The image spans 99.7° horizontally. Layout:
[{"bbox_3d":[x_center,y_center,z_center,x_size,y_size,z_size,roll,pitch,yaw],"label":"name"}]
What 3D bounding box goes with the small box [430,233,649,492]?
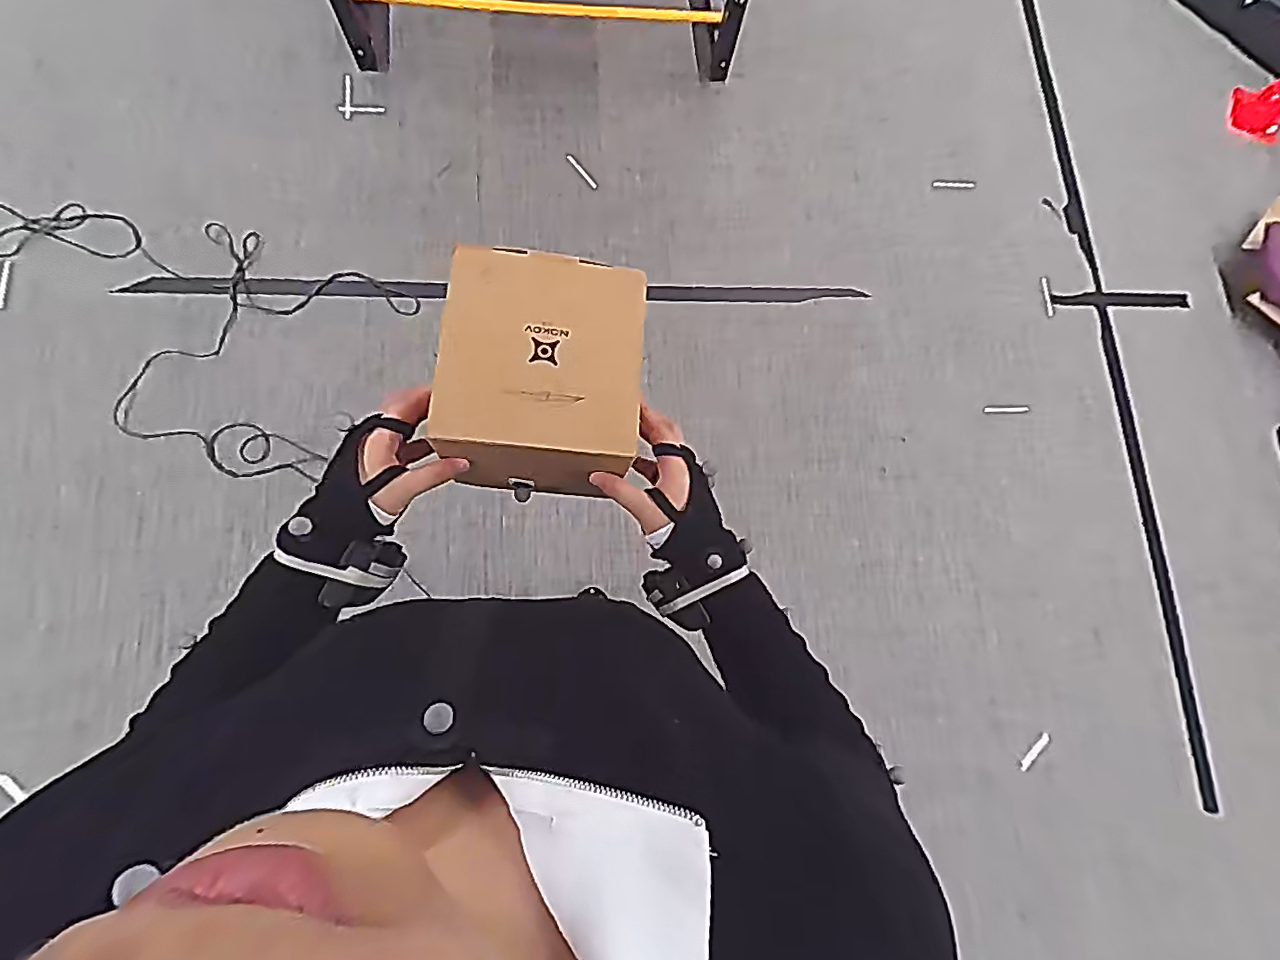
[{"bbox_3d":[-0.091,-0.098,0.522,0.168,0.176,0.179,5,75,-9],"label":"small box"}]
